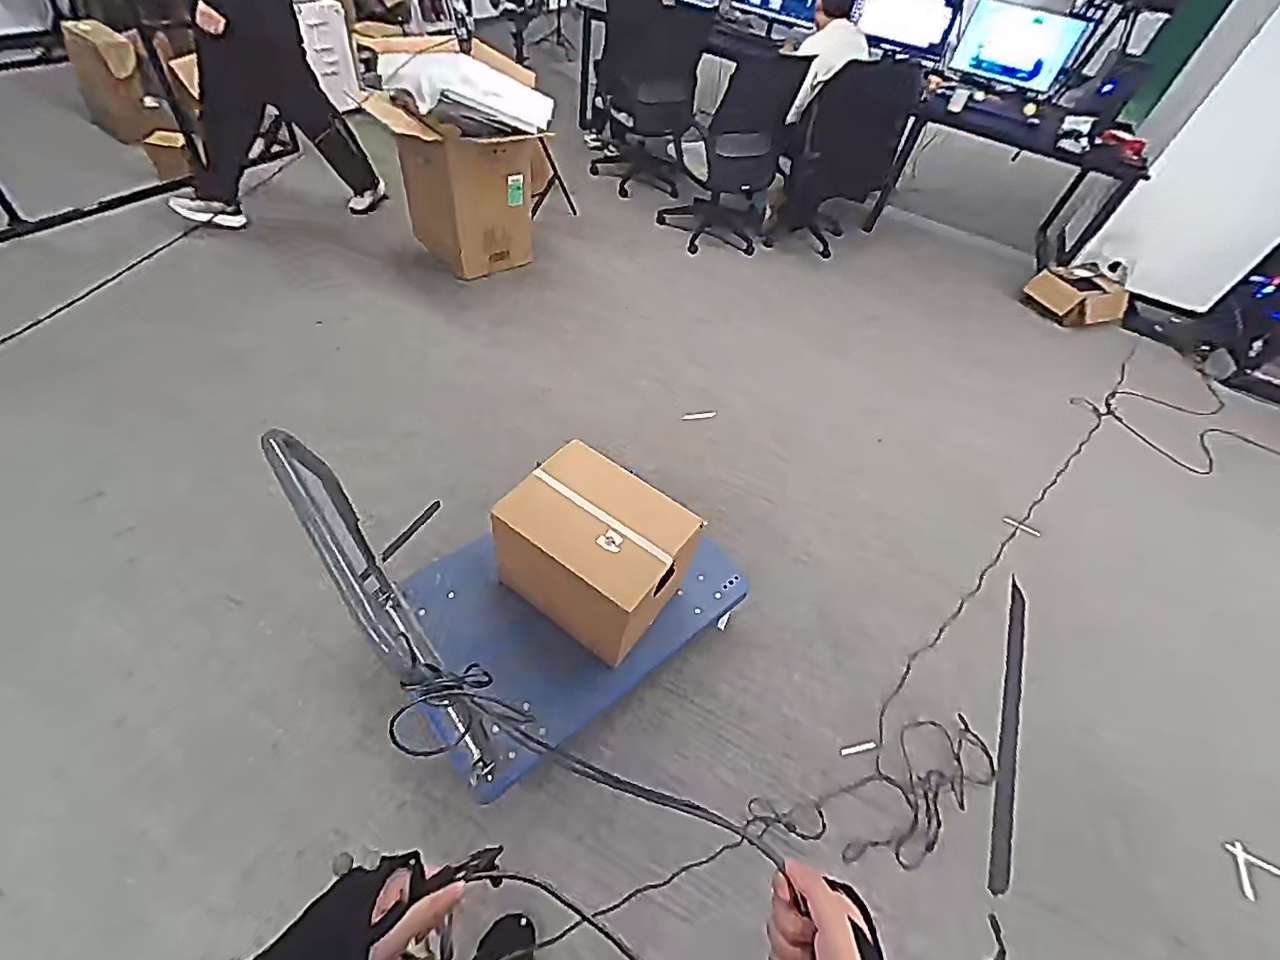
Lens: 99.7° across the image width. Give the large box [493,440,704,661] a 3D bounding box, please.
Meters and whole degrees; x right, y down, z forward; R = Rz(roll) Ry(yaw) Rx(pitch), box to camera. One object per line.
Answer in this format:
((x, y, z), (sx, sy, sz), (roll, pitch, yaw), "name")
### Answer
((-0.114, 0.175, 1.368), (0.408, 0.320, 0.320), (33, 54, 16), "large box")
